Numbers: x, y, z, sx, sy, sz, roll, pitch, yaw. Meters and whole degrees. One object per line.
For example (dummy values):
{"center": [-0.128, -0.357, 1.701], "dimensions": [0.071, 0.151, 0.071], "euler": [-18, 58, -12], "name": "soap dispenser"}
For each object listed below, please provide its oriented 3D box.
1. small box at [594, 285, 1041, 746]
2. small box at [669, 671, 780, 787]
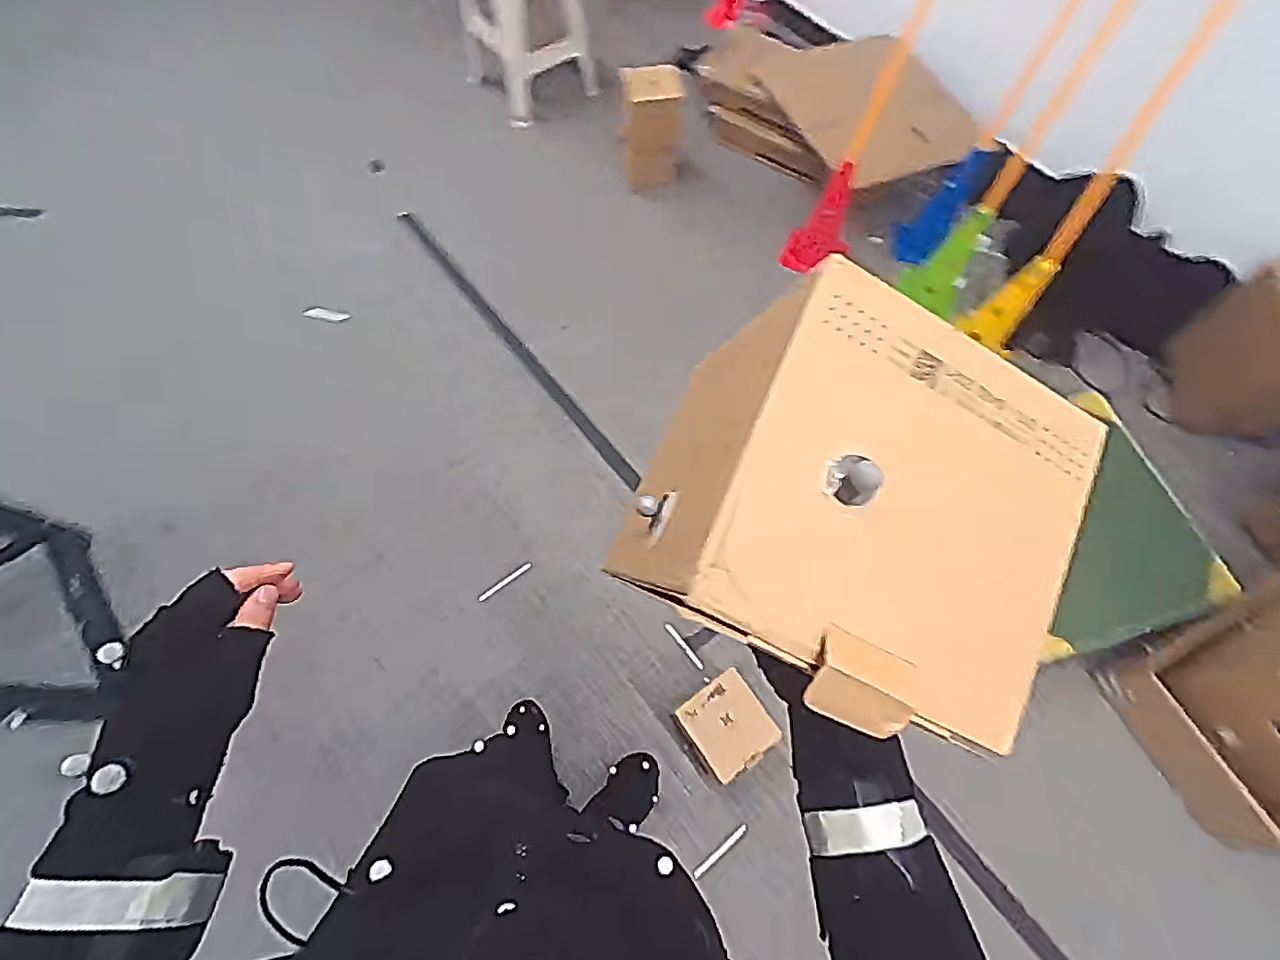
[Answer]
{"center": [0.094, 0.019, 0.321], "dimensions": [0.168, 0.179, 0.176], "euler": [28, 79, -12], "name": "small box"}
{"center": [0.184, 0.559, 1.233], "dimensions": [0.168, 0.176, 0.179], "euler": [-31, 73, -15], "name": "small box"}
